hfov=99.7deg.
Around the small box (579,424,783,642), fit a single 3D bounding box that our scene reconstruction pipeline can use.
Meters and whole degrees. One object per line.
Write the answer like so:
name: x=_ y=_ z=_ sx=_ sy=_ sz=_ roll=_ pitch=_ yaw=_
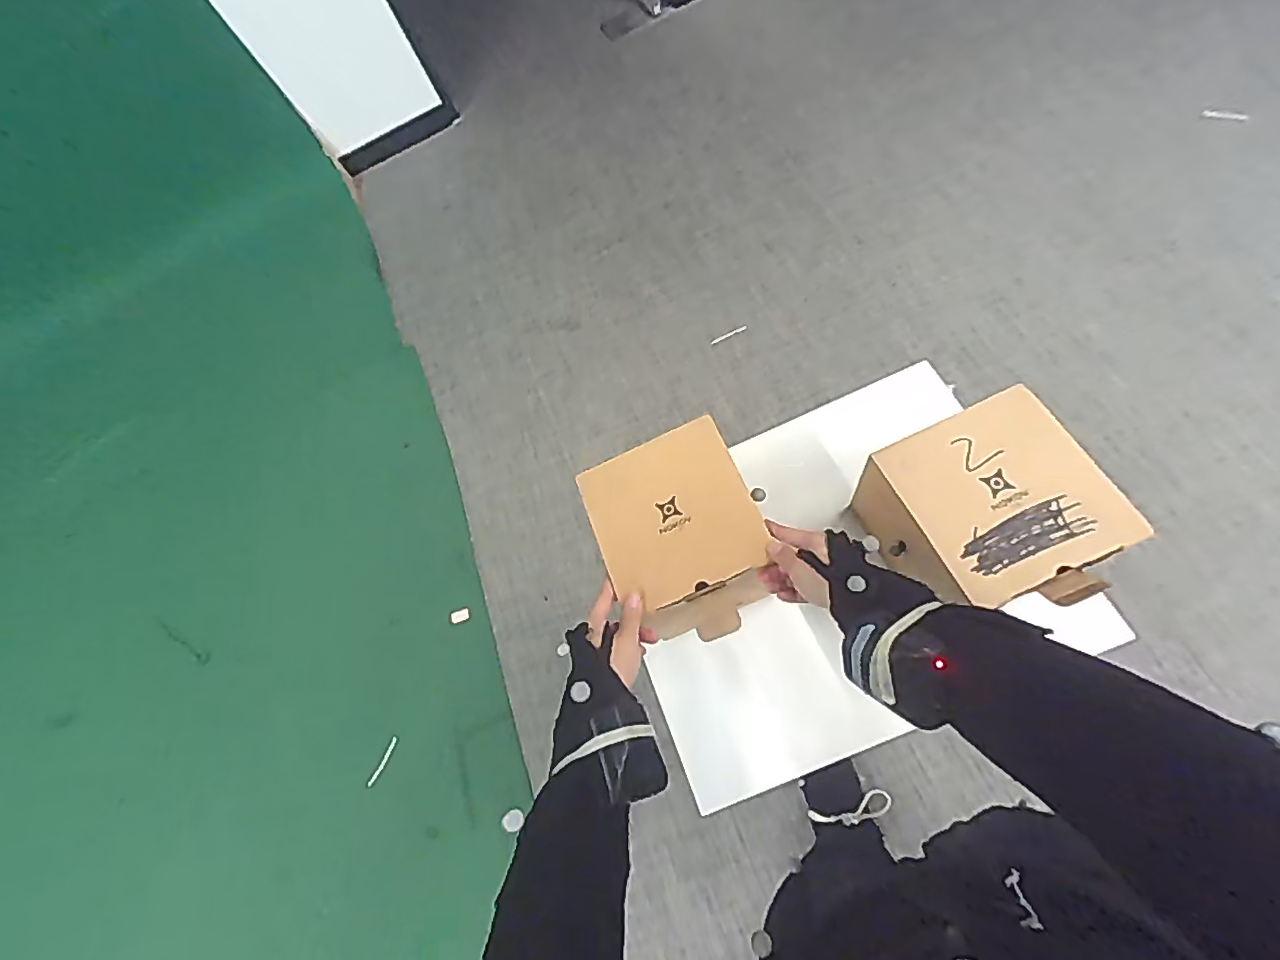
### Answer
small box: x=0.051 y=0.071 z=0.625 sx=0.168 sy=0.176 sz=0.179 roll=-24 pitch=65 yaw=5
